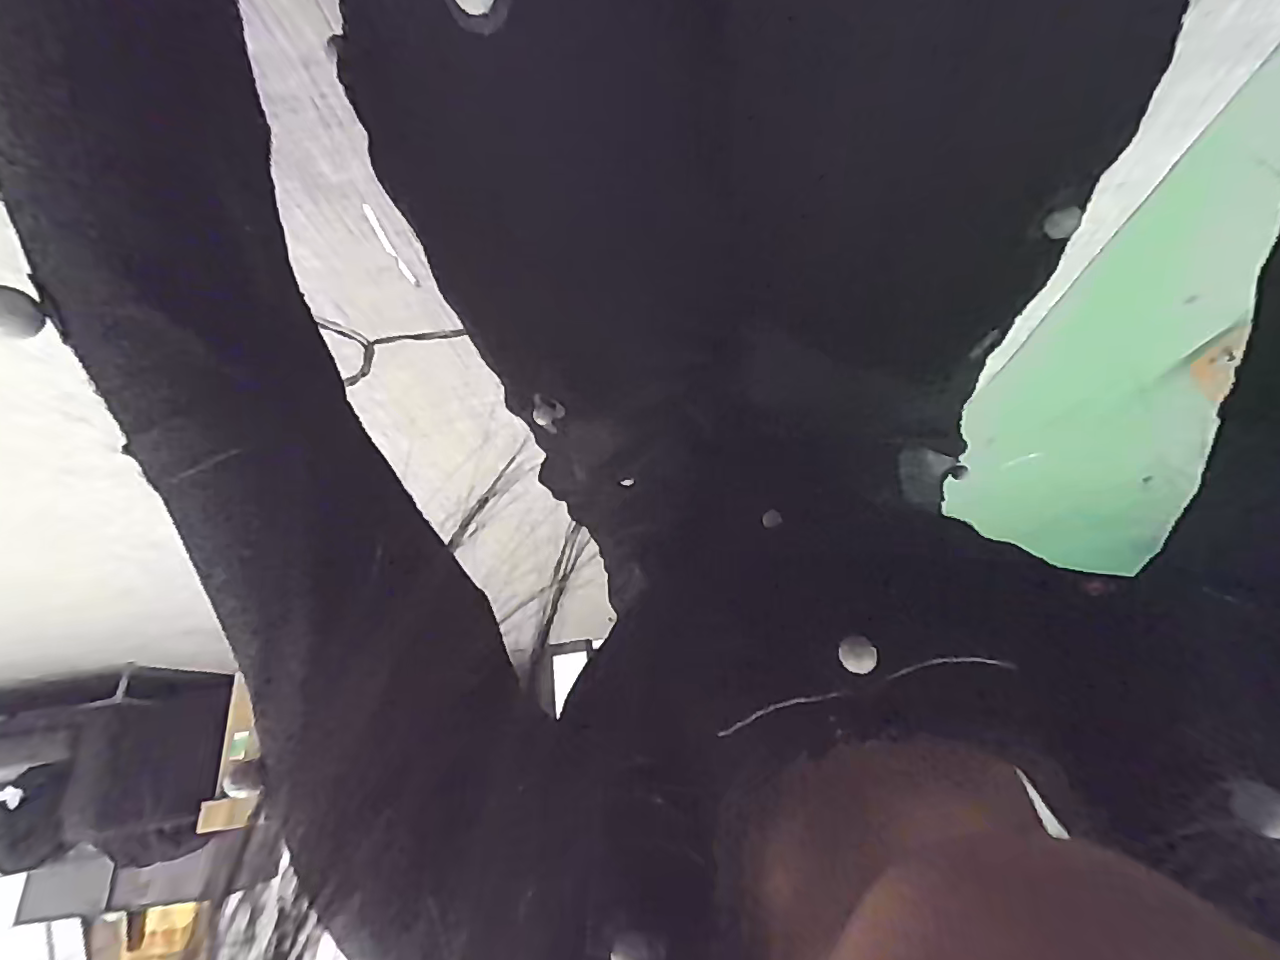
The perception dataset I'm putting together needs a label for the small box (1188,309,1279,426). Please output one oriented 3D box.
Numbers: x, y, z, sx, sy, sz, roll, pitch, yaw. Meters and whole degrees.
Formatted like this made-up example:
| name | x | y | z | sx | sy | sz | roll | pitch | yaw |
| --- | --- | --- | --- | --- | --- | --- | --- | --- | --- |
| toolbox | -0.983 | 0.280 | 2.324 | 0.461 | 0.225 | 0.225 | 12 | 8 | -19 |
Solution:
| name | x | y | z | sx | sy | sz | roll | pitch | yaw |
| --- | --- | --- | --- | --- | --- | --- | --- | --- | --- |
| small box | 1.277 | -0.232 | 1.073 | 0.179 | 0.176 | 0.168 | -11 | 155 | 6 |
